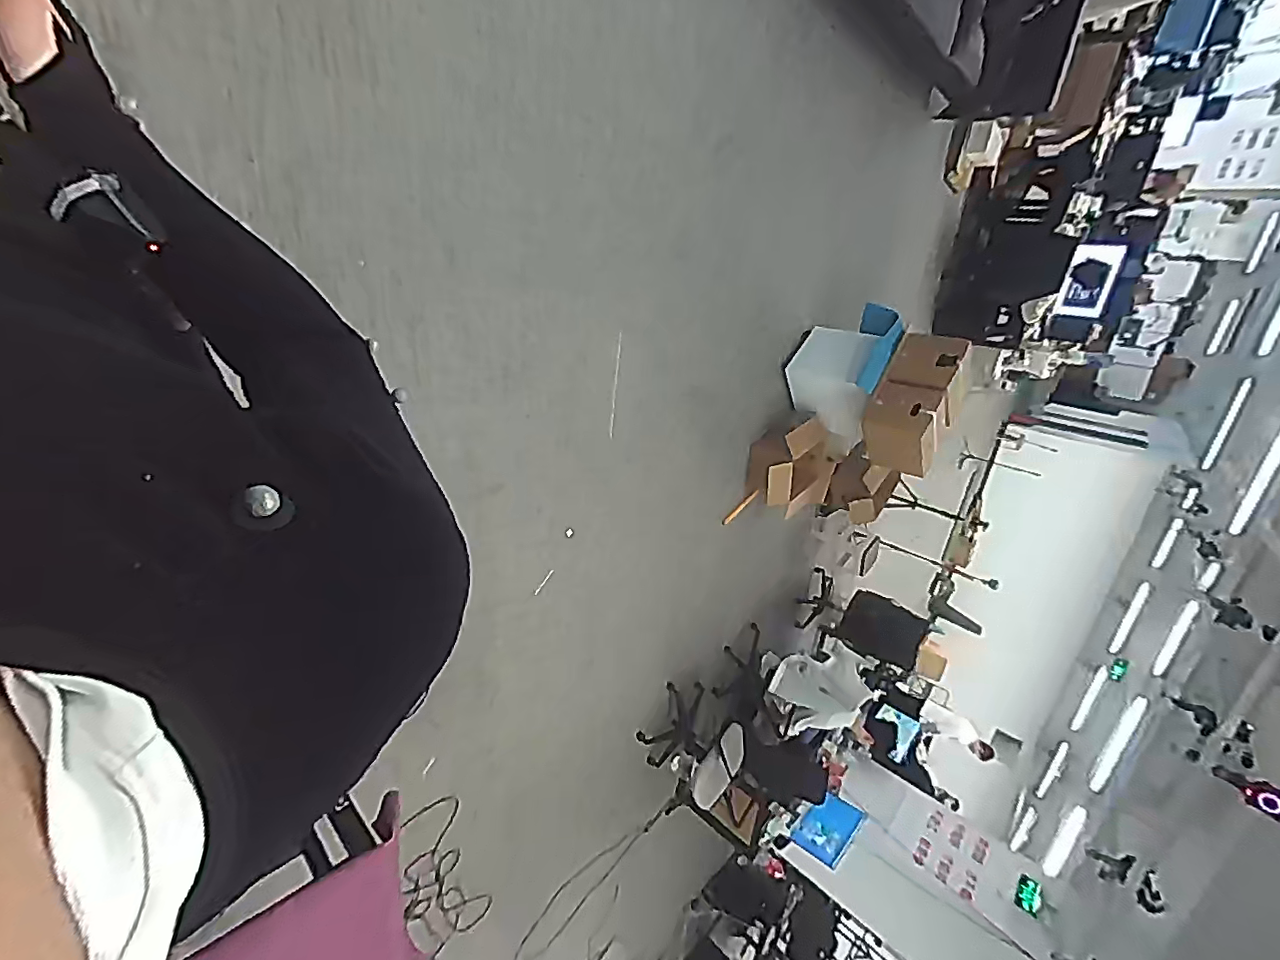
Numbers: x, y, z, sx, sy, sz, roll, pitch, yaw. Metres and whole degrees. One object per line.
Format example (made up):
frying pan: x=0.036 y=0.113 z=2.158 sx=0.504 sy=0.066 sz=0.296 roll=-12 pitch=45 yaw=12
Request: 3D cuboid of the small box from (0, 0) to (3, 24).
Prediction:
small box: x=-0.586 y=-0.444 z=0.377 sx=0.179 sy=0.176 sz=0.168 roll=-4 pitch=110 yaw=-49
